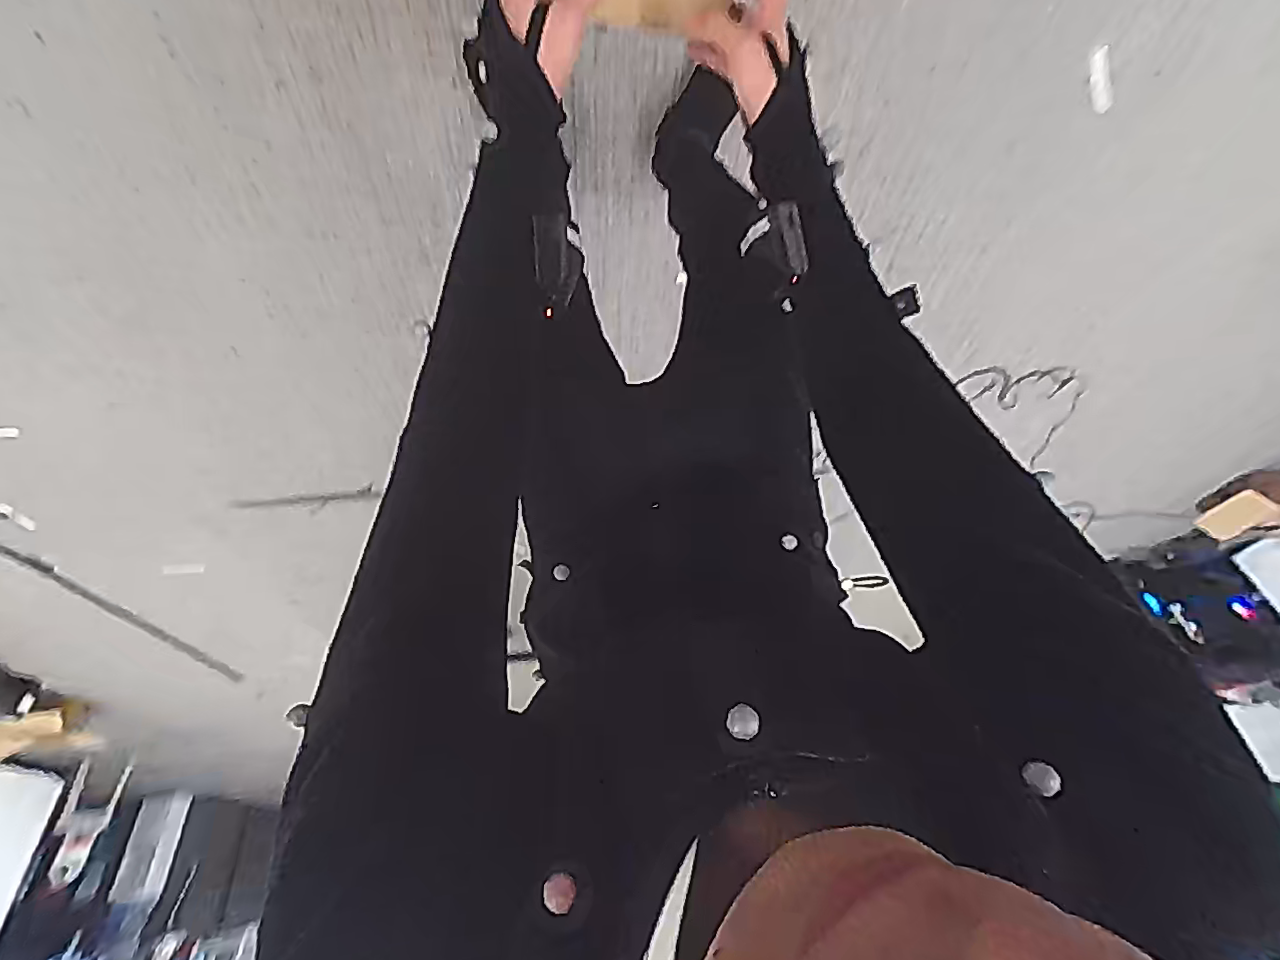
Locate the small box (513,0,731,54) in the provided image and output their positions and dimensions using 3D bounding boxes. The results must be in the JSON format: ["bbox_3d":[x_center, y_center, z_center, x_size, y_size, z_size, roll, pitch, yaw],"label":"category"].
[{"bbox_3d":[-0.015,-0.479,0.425,0.179,0.176,0.168,-4,147,-18],"label":"small box"}]
